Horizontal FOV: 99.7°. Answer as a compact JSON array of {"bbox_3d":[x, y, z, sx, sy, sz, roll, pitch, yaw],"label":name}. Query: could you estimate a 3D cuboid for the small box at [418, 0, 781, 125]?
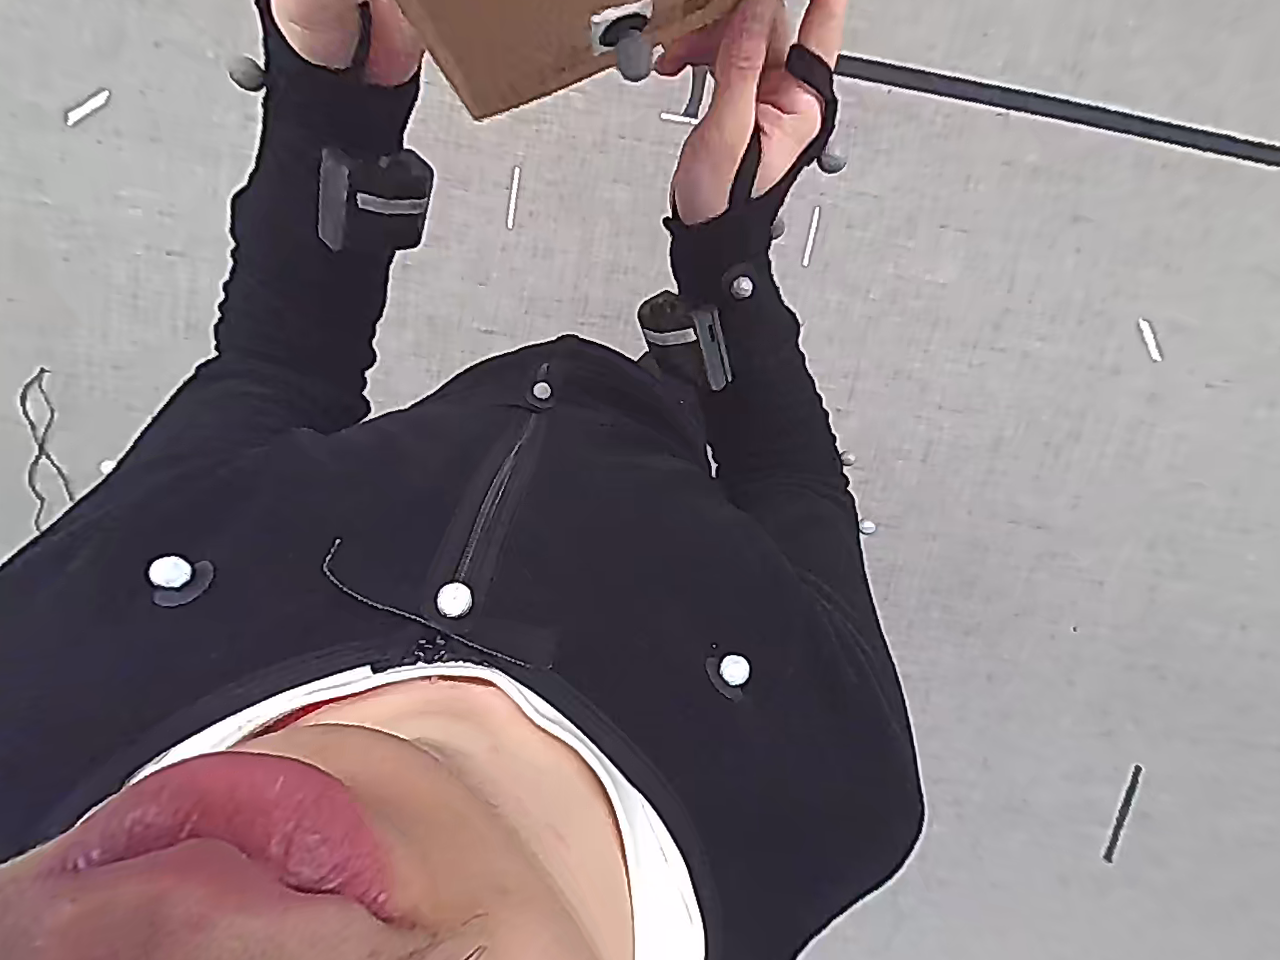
[{"bbox_3d":[-0.024,-0.247,0.153,0.168,0.176,0.179,-24,108,4],"label":"small box"}]
